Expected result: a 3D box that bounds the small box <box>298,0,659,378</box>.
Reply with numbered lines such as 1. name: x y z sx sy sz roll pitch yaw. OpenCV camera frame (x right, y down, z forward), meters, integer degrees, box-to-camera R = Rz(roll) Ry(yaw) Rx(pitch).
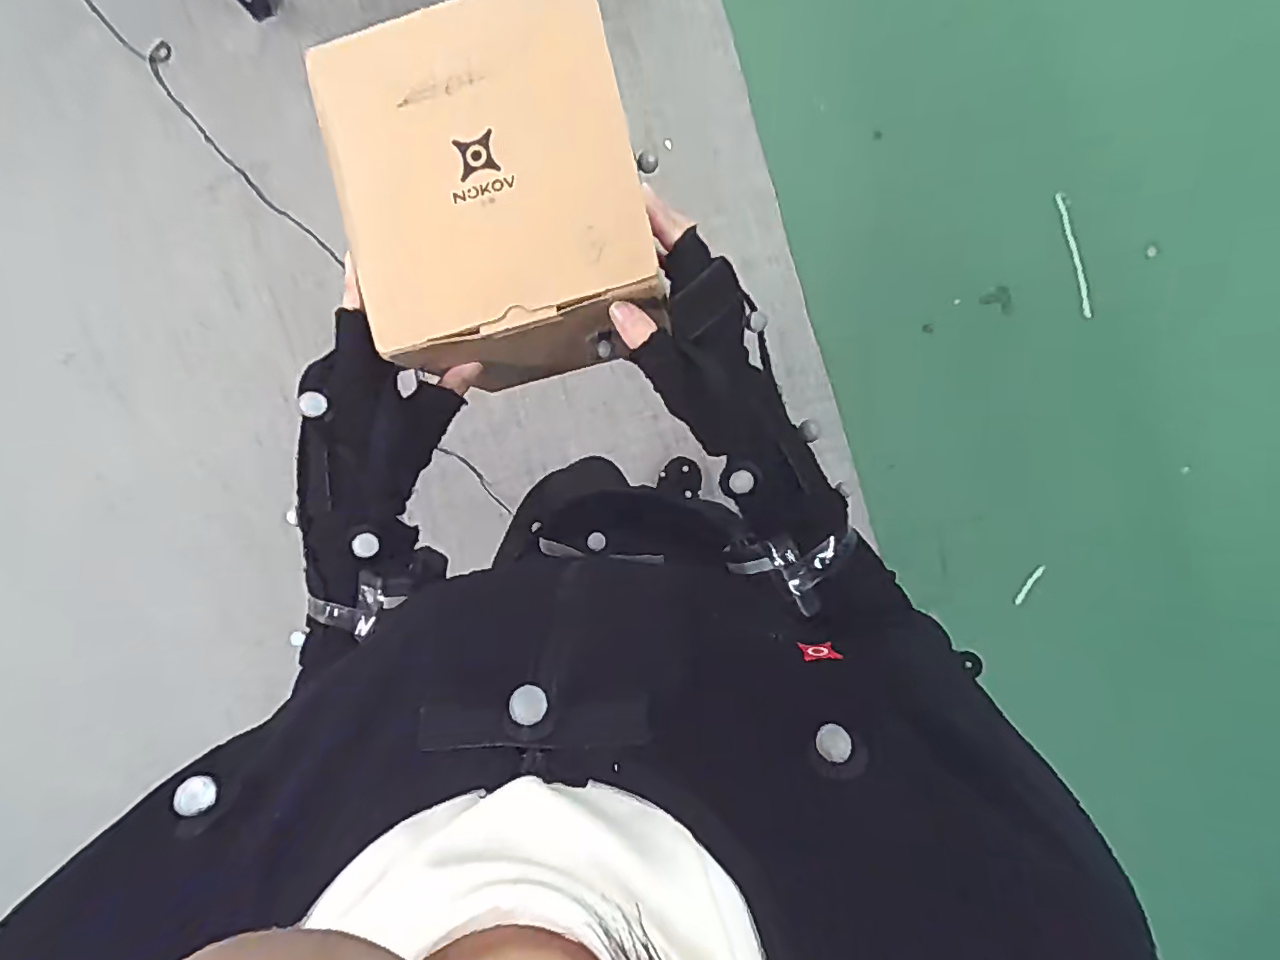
1. small box: -0.086 -0.177 0.375 0.168 0.176 0.179 -14 89 6
